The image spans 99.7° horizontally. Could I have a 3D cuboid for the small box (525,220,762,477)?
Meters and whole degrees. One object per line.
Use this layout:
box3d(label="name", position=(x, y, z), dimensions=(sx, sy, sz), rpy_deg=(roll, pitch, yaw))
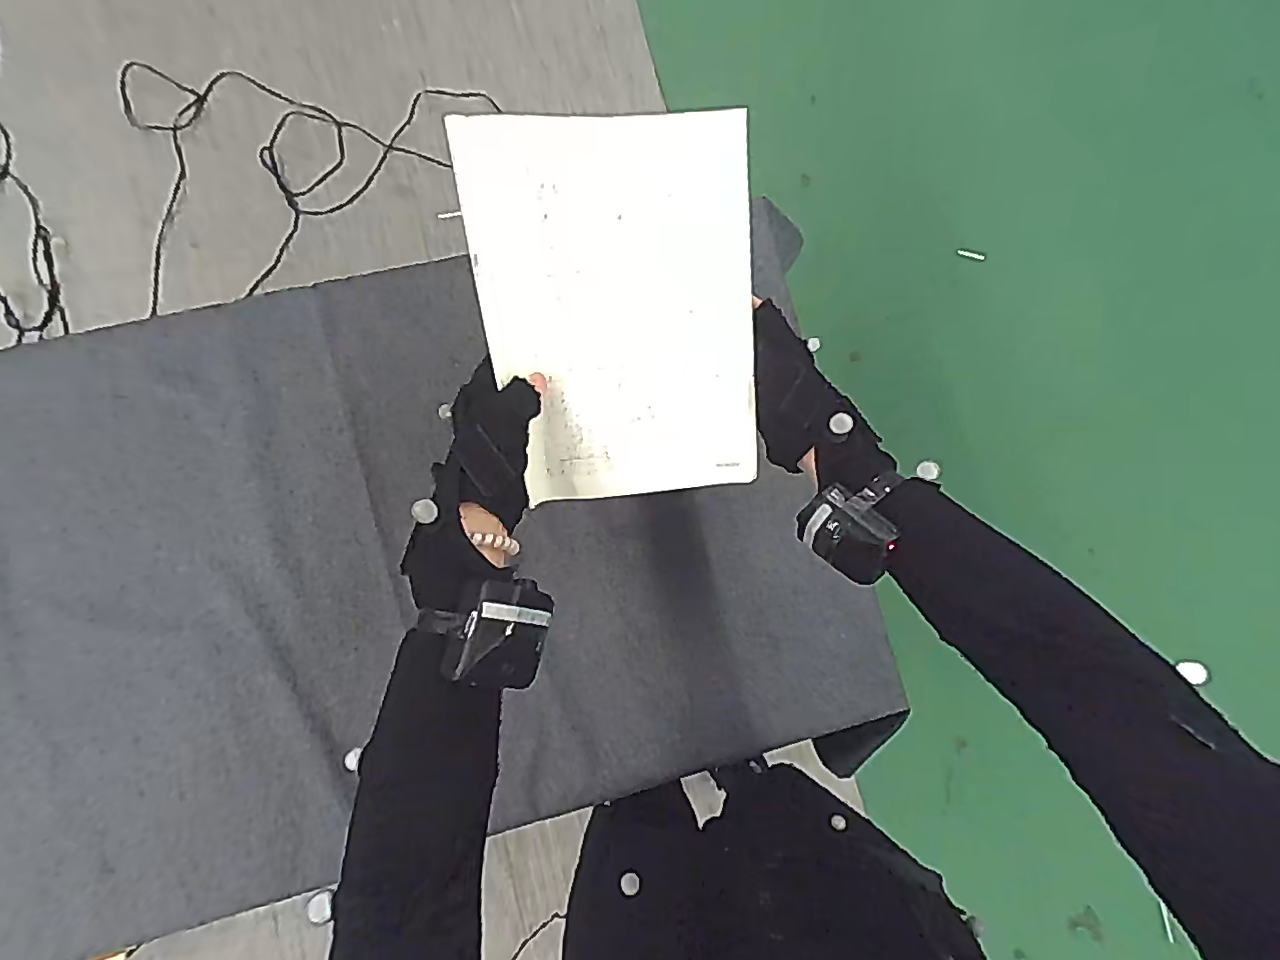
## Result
box3d(label="small box", position=(-0.004, -0.111, 0.524), dimensions=(0.168, 0.176, 0.179), rpy_deg=(-15, 86, -5))
